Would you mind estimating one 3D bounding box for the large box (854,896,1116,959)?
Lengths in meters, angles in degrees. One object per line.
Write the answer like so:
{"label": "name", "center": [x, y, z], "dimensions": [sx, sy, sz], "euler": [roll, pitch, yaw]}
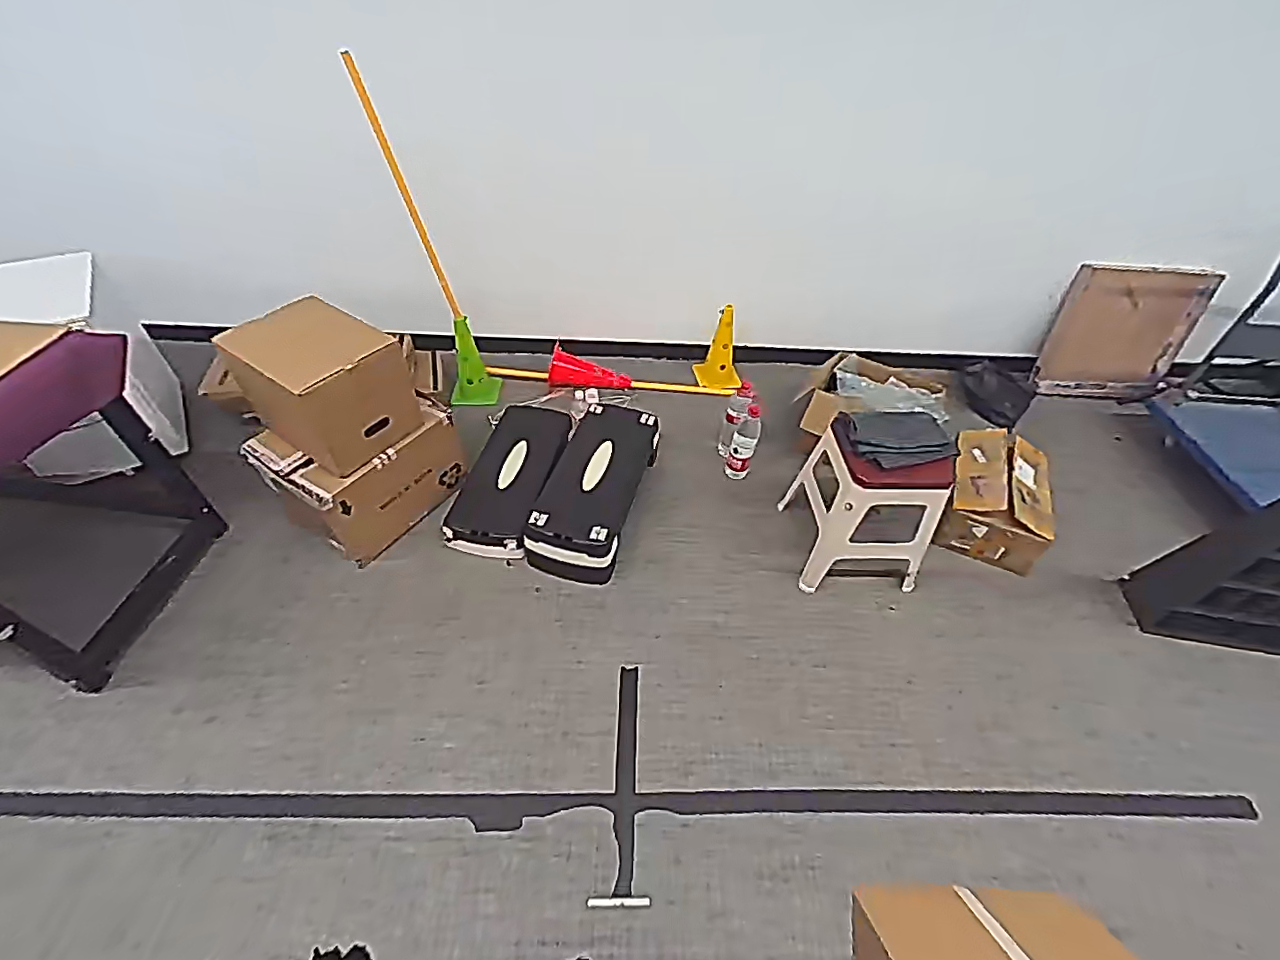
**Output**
{"label": "large box", "center": [0.452, 0.749, 0.578], "dimensions": [0.320, 0.408, 0.320], "euler": [2, 85, 1]}
